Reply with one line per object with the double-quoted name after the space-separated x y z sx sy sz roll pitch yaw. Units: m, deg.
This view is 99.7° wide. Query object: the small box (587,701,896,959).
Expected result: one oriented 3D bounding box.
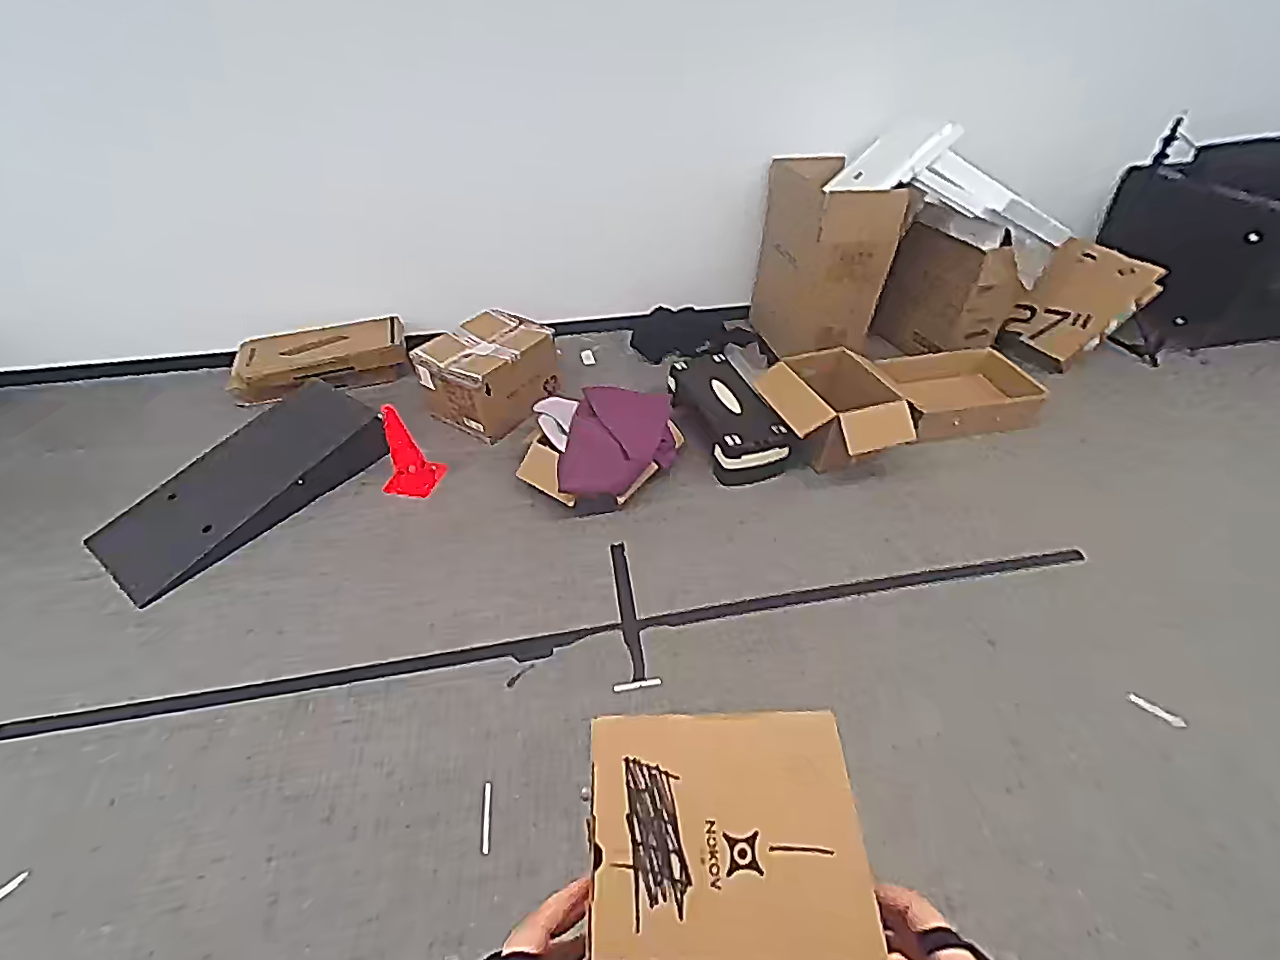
0.054 0.273 0.401 0.179 0.176 0.168 0 53 -3 "small box"
